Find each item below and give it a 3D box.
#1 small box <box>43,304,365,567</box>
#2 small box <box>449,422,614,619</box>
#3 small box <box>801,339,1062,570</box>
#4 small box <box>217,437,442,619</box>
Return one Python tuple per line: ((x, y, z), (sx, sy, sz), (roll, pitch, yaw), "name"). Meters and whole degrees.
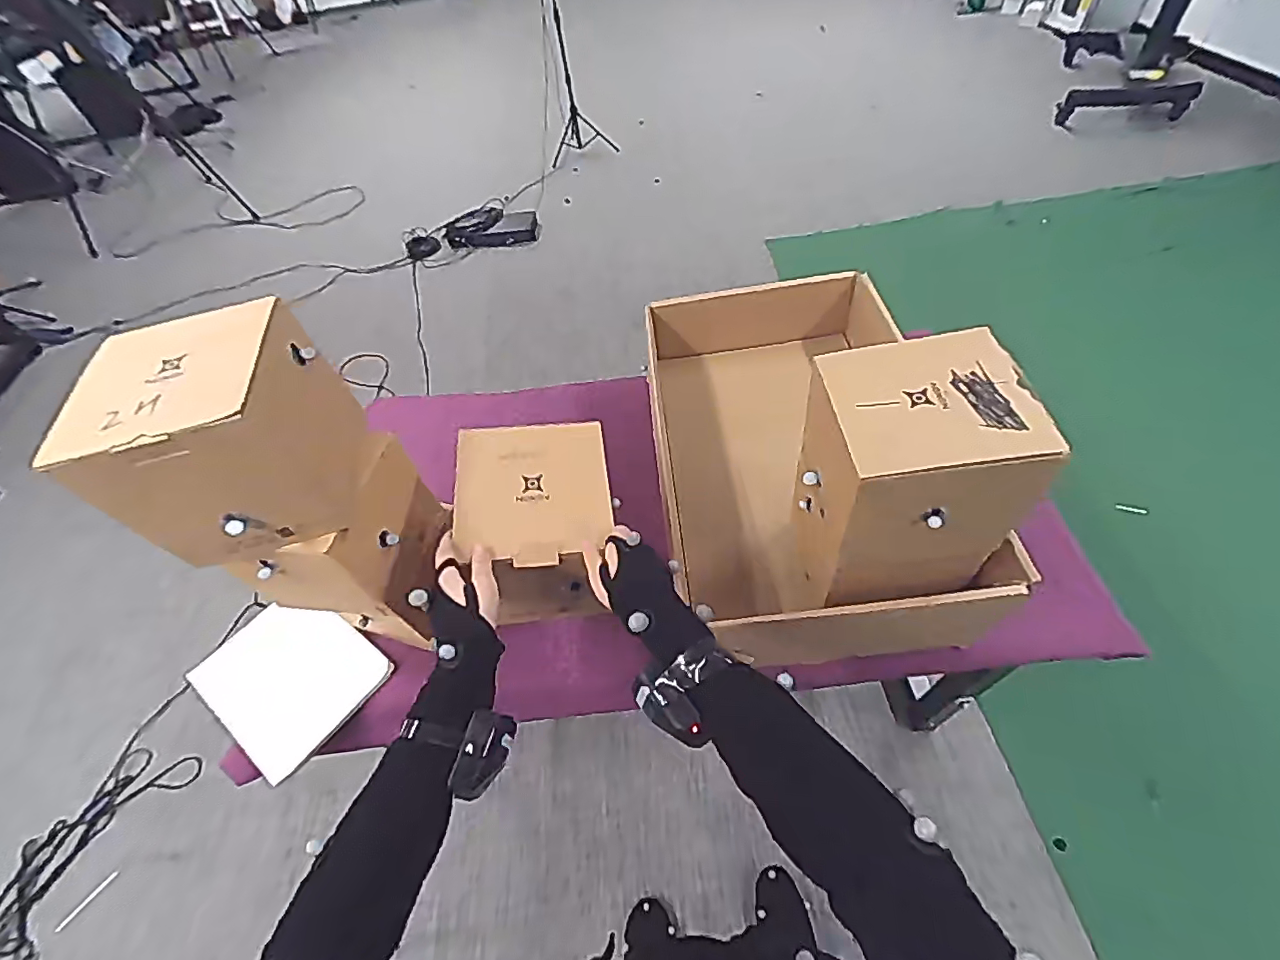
((-0.400, -0.042, 0.541), (0.168, 0.176, 0.179), (-15, 52, -3), "small box")
((-0.121, 0.055, 0.643), (0.168, 0.176, 0.179), (-4, 54, -8), "small box")
((0.280, -0.021, 0.572), (0.179, 0.176, 0.168), (-8, 52, 6), "small box")
((-0.376, 0.060, 0.669), (0.179, 0.176, 0.168), (3, 53, 10), "small box")
